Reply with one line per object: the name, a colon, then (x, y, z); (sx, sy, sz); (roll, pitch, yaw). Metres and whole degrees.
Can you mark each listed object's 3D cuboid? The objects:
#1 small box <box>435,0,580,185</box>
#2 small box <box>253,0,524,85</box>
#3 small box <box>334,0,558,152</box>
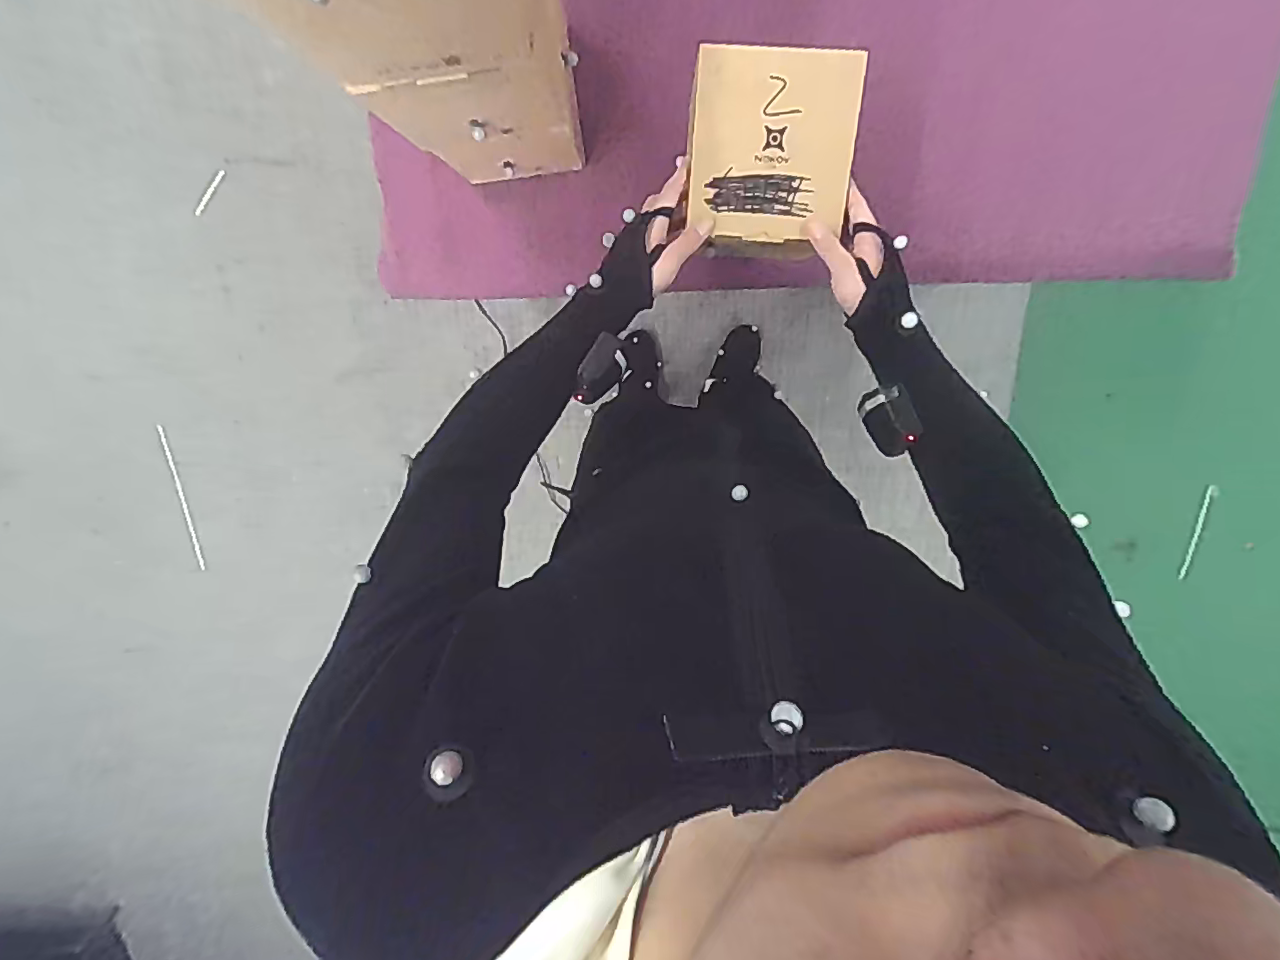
small box: (-0.171, -0.483, 0.658); (0.168, 0.176, 0.179); (-7, 107, 2)
small box: (-0.180, -0.392, 0.342); (0.168, 0.176, 0.179); (-5, 106, 2)
small box: (-0.179, -0.435, 0.500); (0.168, 0.176, 0.179); (-7, 106, 3)
